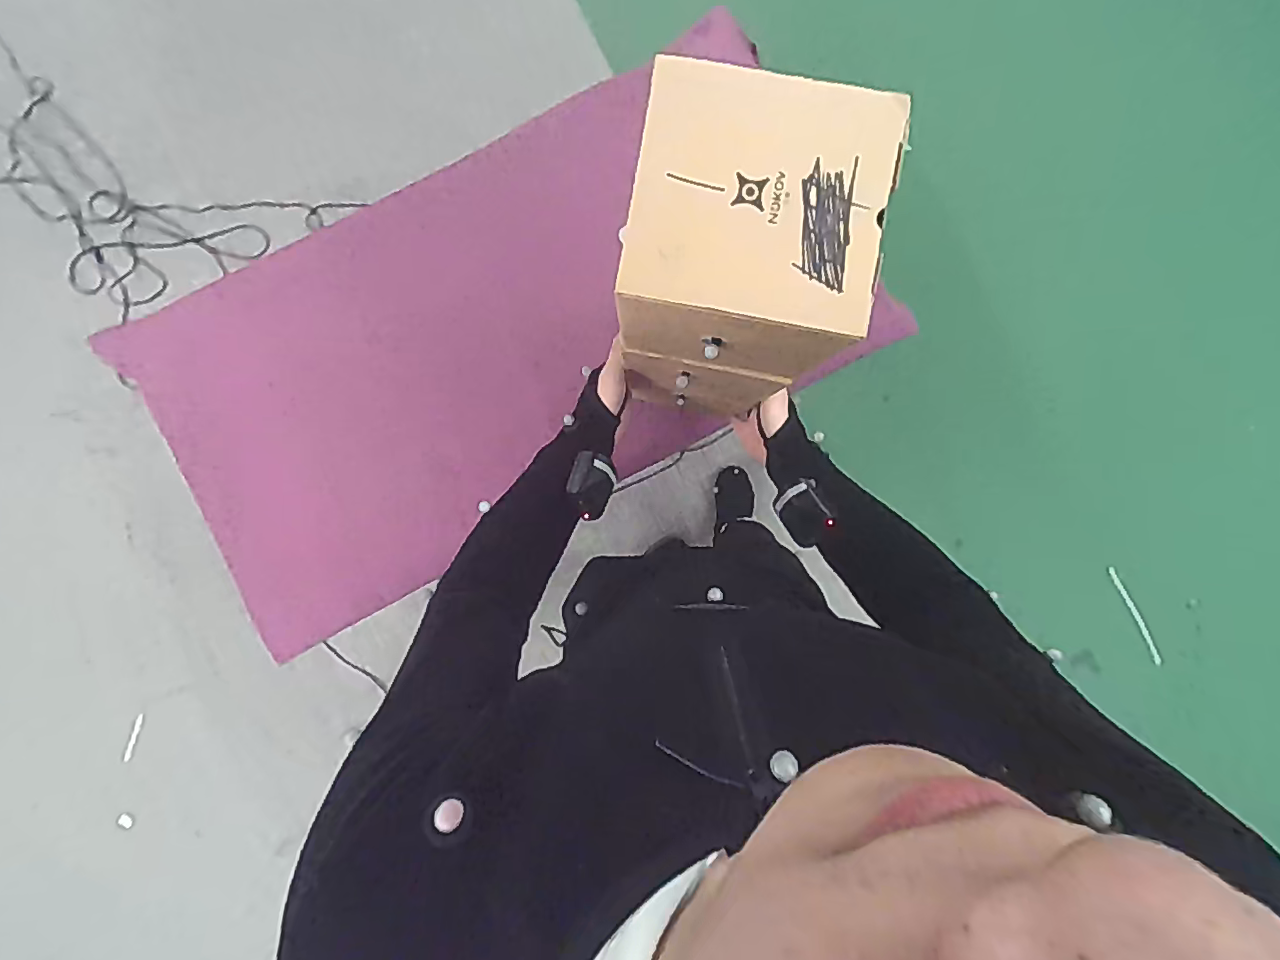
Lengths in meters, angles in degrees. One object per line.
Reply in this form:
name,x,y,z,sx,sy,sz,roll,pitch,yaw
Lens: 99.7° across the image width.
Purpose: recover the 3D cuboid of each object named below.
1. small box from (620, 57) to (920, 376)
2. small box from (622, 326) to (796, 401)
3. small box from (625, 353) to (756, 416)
small box,0.087,-0.188,0.441,0.179,0.176,0.168,11,92,1
small box,0.085,-0.190,0.606,0.179,0.176,0.168,12,92,1
small box,0.084,-0.193,0.770,0.179,0.176,0.168,14,91,-1
